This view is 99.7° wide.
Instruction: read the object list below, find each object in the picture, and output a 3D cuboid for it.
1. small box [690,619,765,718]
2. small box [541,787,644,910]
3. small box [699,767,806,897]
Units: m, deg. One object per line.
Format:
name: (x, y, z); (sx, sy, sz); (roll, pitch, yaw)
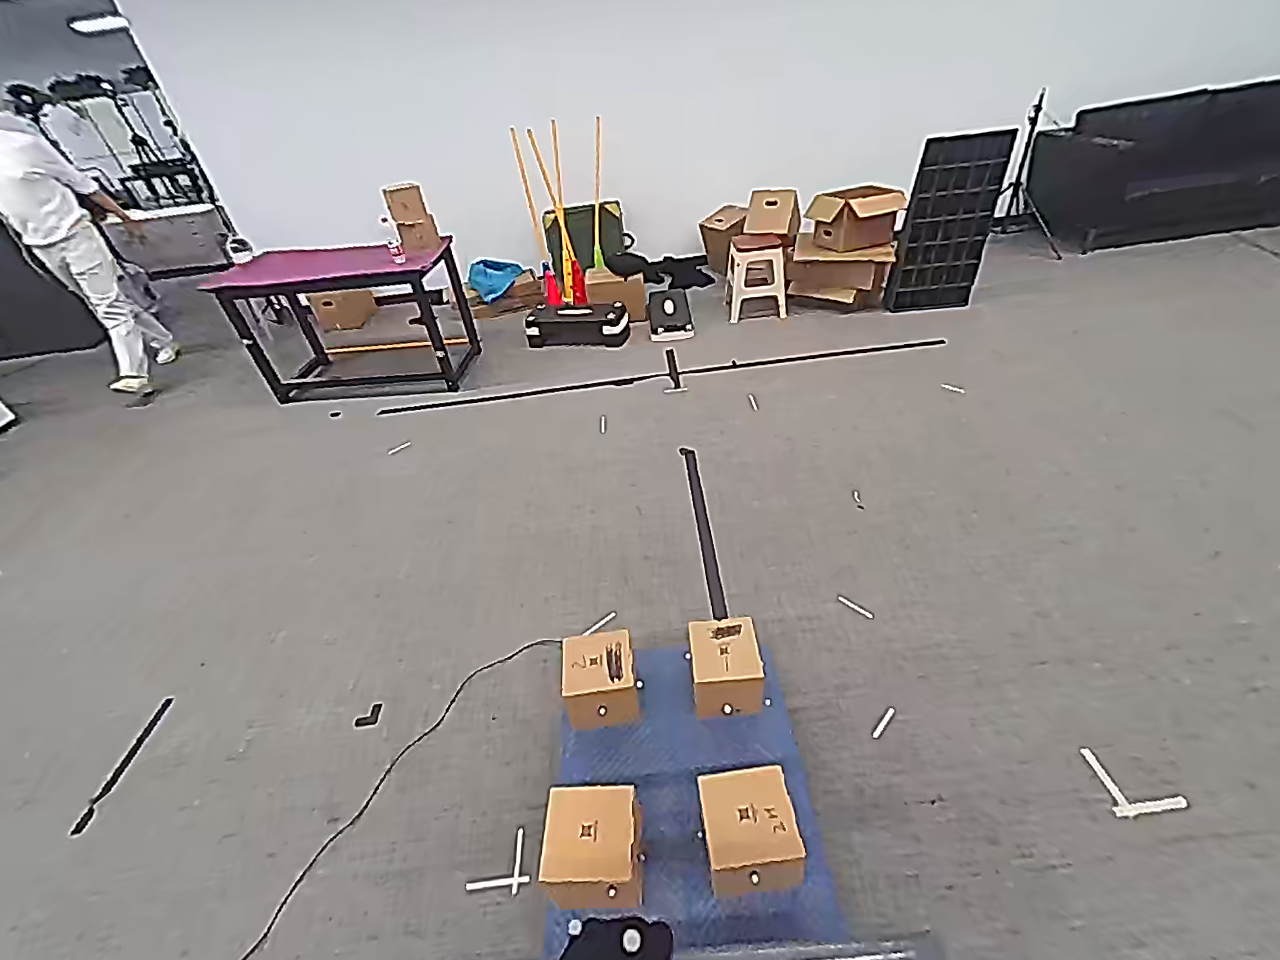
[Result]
small box: (0.218, 0.481, 1.382); (0.168, 0.176, 0.179); (-6, 39, 2)
small box: (-0.088, 0.746, 1.095); (0.179, 0.176, 0.168); (-3, 38, 3)
small box: (0.221, 0.709, 1.088); (0.179, 0.176, 0.168); (-8, 38, 0)
